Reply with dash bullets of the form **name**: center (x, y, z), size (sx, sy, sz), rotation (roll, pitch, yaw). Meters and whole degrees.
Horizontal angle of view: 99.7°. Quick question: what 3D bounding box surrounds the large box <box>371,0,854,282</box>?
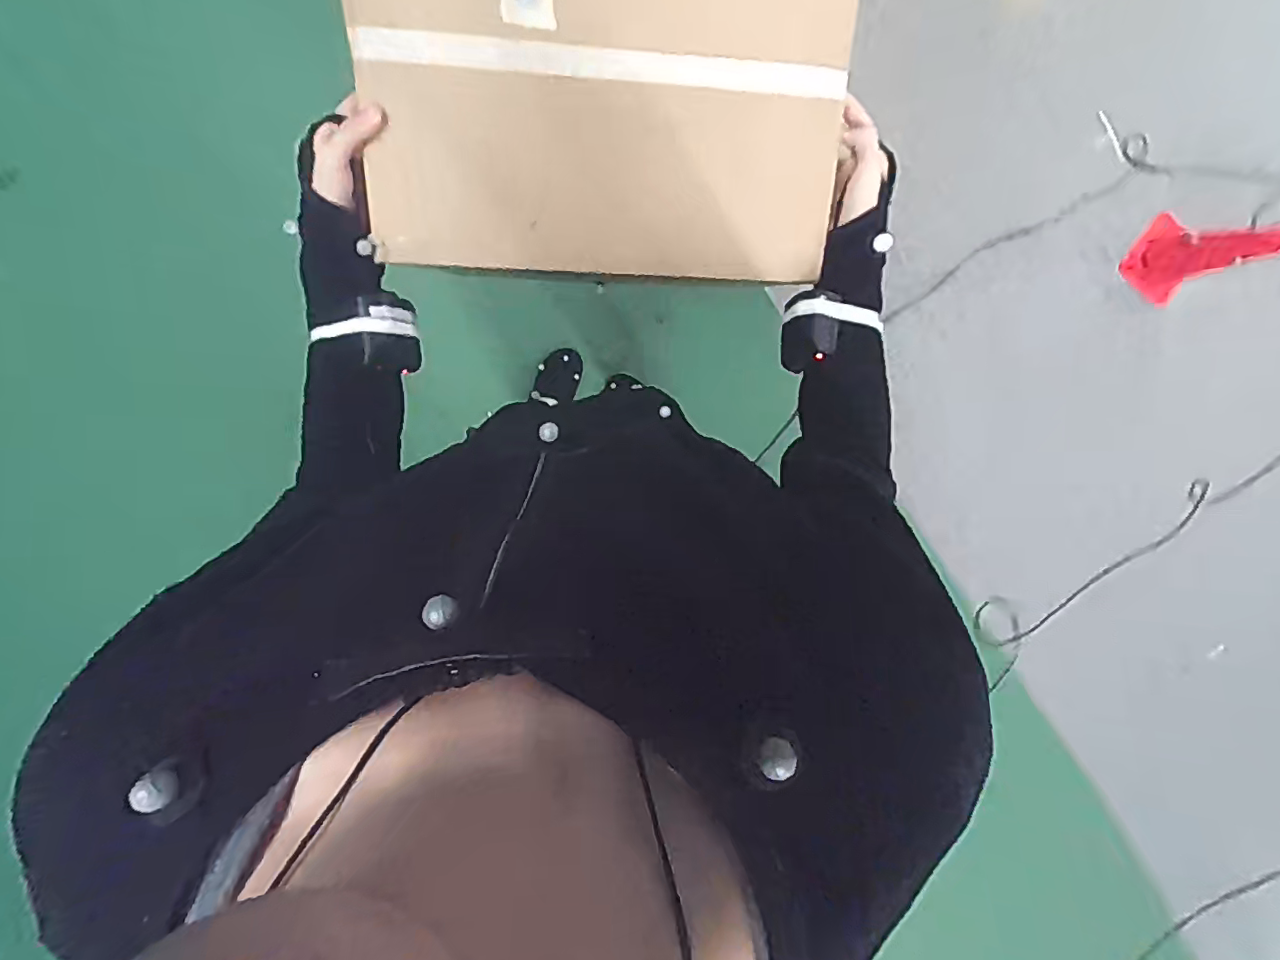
- **large box**: center (-0.030, -0.389, 0.600), size (0.408, 0.320, 0.320), rotation (1, 108, -6)
